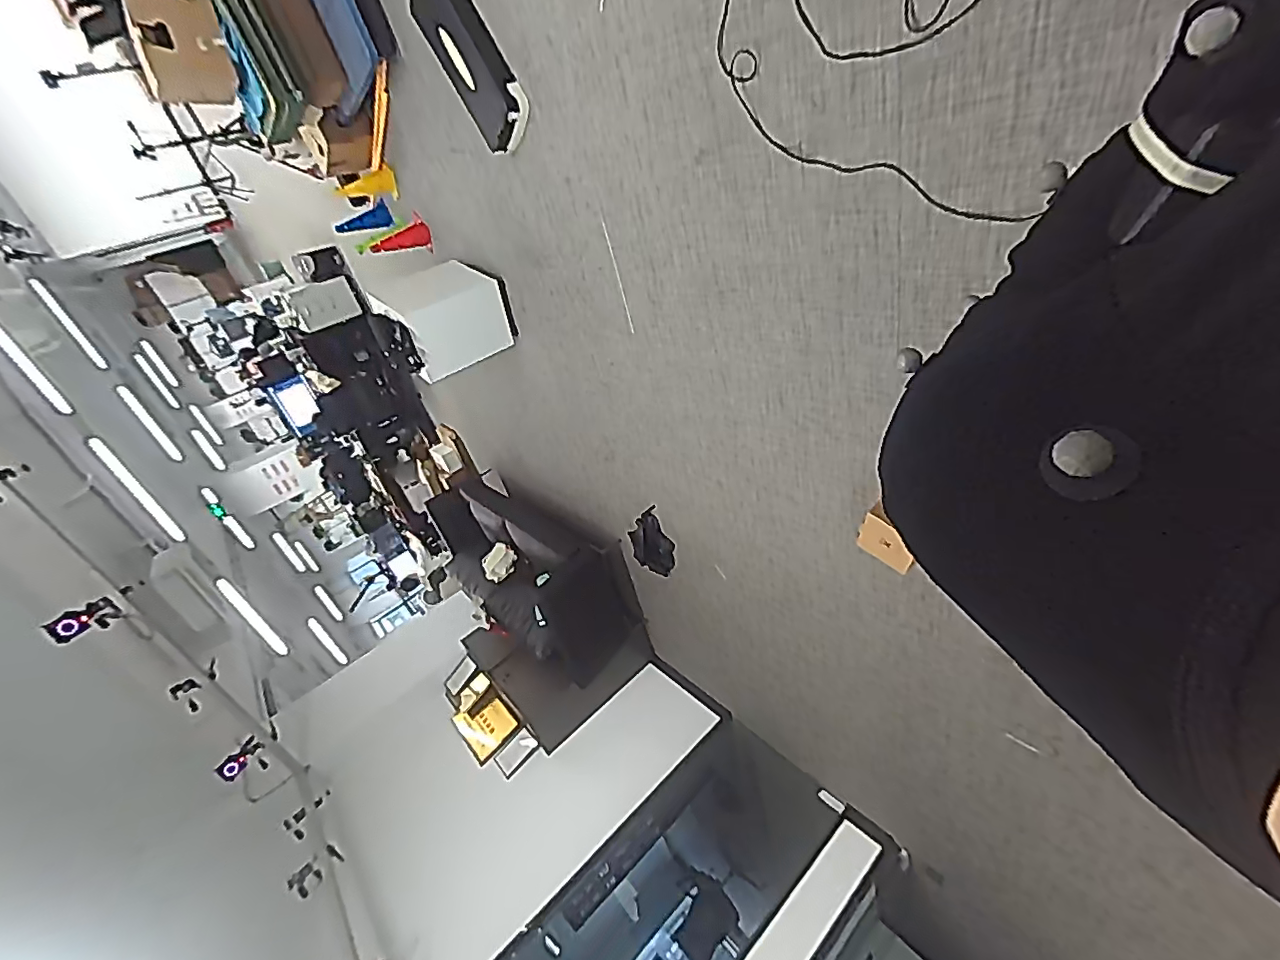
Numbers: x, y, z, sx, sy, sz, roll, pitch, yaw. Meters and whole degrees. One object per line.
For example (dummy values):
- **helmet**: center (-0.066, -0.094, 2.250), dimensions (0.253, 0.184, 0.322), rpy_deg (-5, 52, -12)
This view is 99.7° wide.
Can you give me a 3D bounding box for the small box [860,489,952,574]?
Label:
- **small box**: center (0.829, 0.153, 1.689), dimensions (0.179, 0.176, 0.168), rpy_deg (36, 148, 33)
